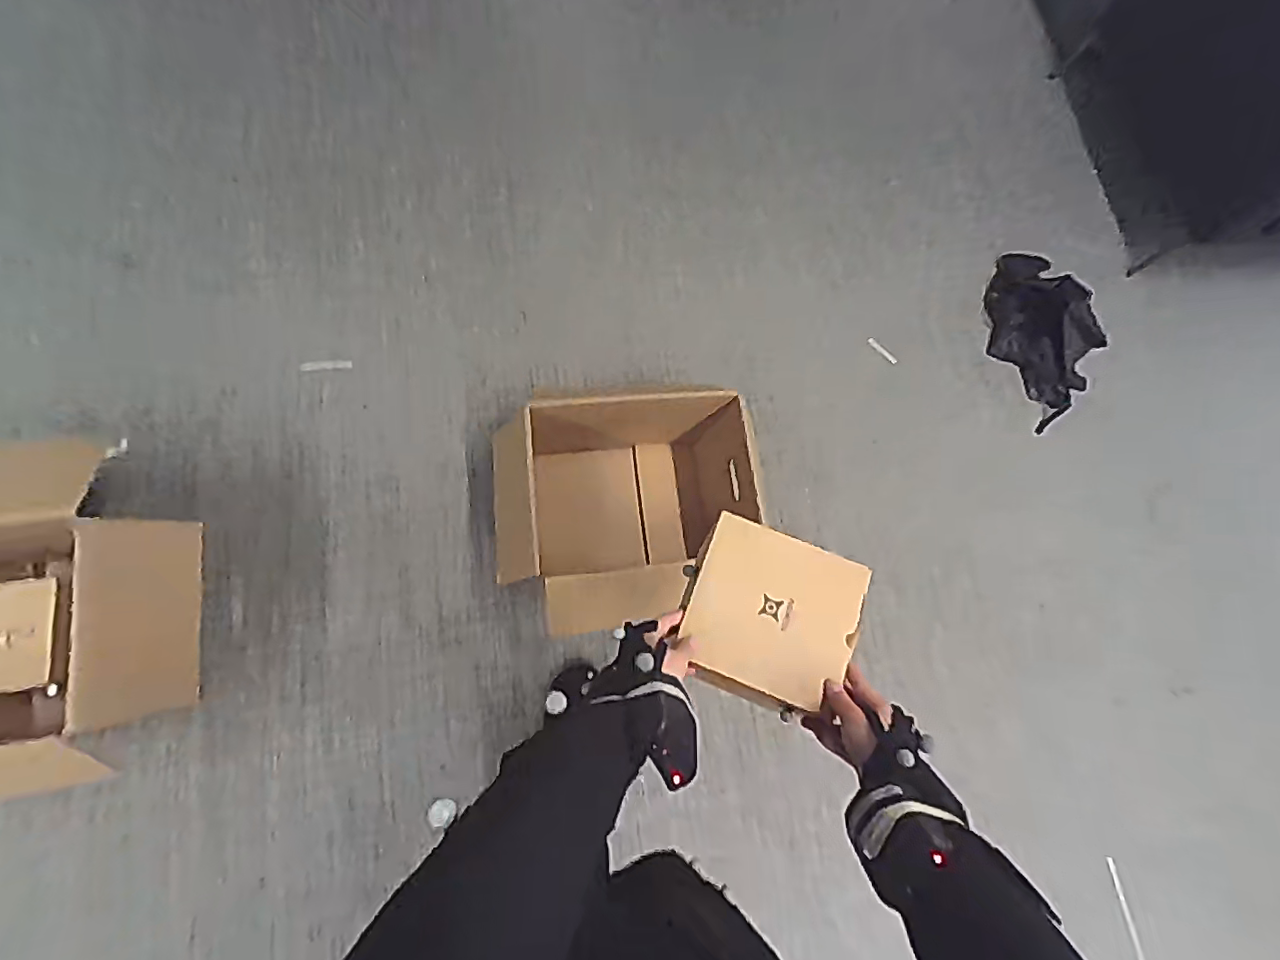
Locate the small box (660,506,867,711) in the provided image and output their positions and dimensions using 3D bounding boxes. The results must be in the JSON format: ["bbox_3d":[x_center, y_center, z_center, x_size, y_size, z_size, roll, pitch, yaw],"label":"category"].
[{"bbox_3d":[0.132,0.157,0.636,0.179,0.176,0.168,21,70,5],"label":"small box"}]
